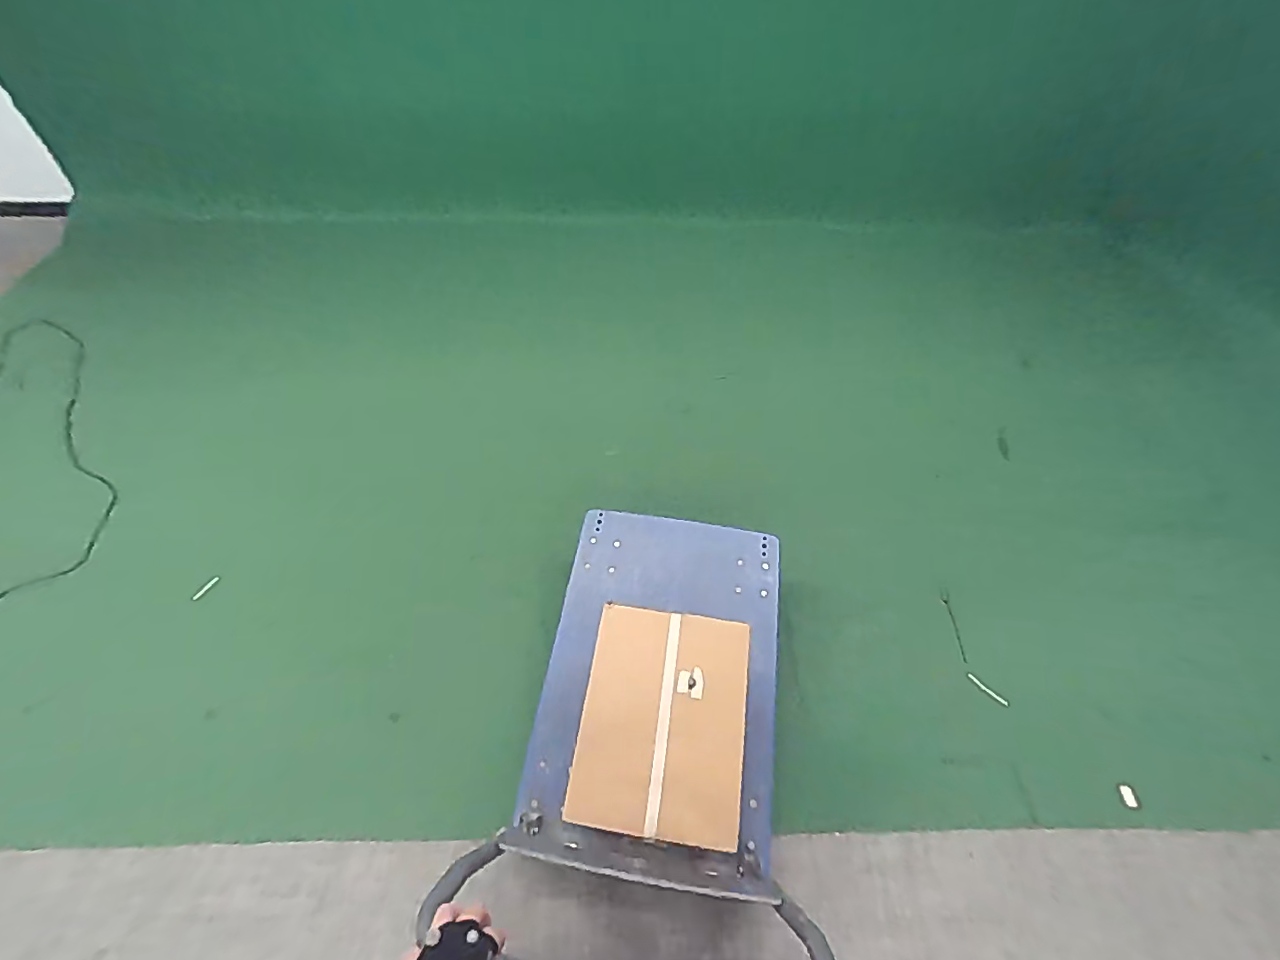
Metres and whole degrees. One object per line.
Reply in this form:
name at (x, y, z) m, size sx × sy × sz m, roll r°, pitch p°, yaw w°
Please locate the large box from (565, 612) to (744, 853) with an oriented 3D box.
large box at (0.045, 0.547, 1.179) m, size 0.320 × 0.320 × 0.408 m, roll 7°, pitch 58°, yaw 5°
